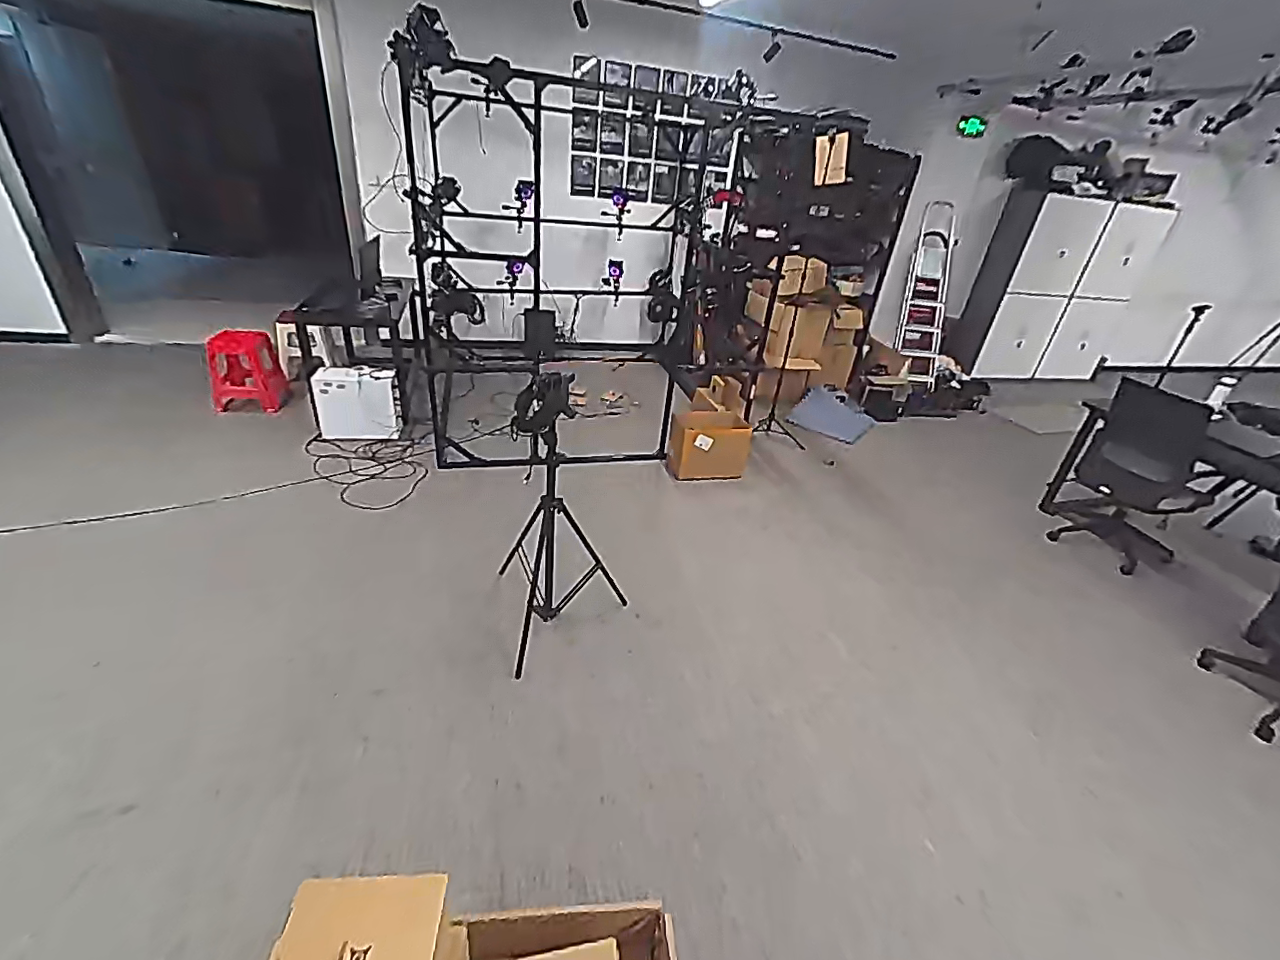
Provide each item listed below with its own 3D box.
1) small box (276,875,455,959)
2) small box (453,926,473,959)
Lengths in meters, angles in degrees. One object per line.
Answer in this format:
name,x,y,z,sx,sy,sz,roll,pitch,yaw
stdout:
small box,-0.323,0.602,0.638,0.179,0.176,0.168,3,29,-8
small box,-0.318,0.745,0.720,0.168,0.176,0.179,2,29,-11
